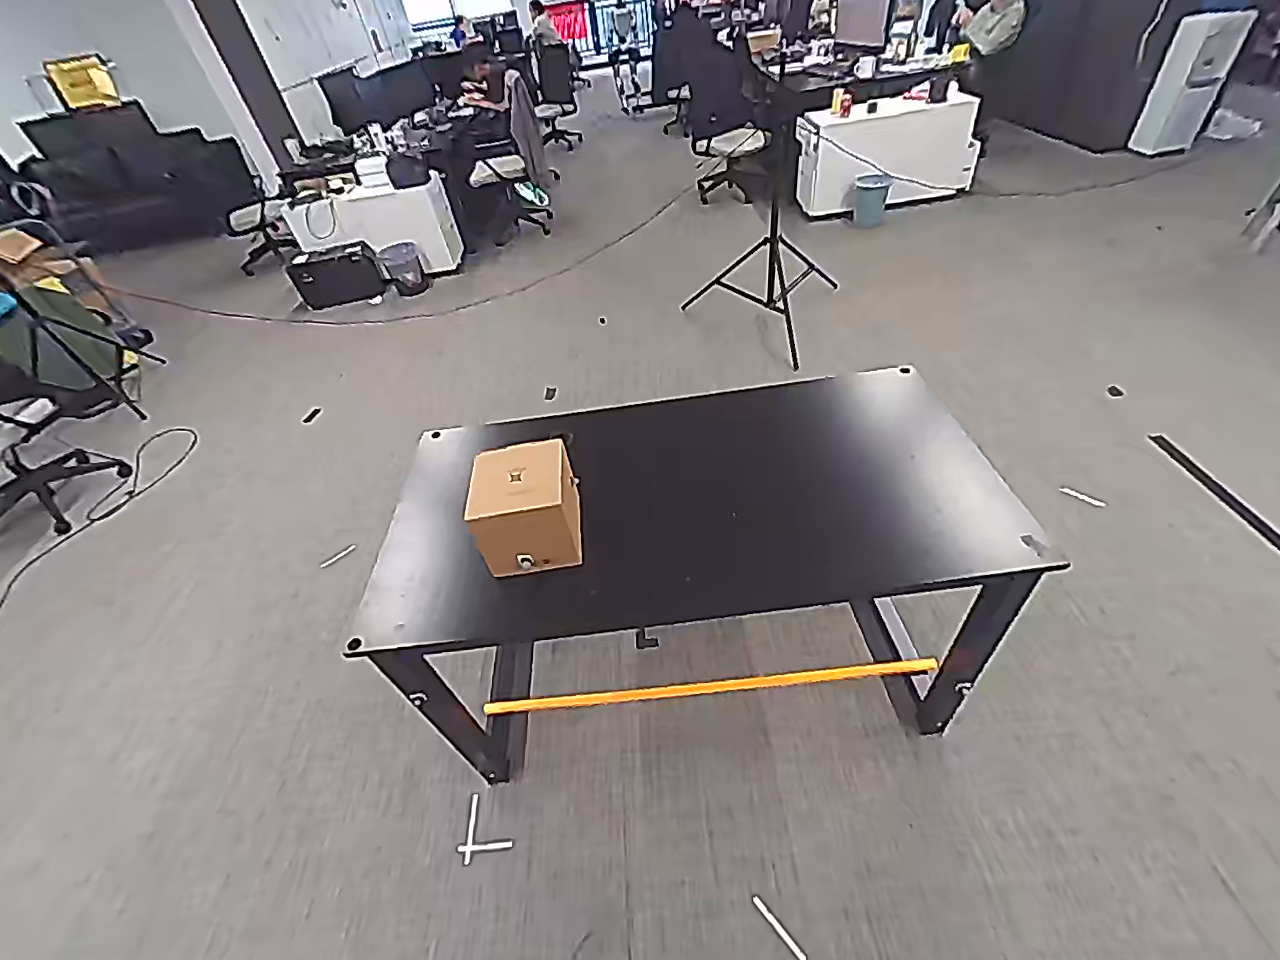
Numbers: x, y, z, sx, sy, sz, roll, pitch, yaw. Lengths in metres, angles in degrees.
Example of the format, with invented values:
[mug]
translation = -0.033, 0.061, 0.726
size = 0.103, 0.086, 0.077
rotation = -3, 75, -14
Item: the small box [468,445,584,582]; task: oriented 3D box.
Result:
[small box]
translation = -0.203, 0.063, 1.010
size = 0.168, 0.176, 0.179
rotation = -11, 44, 1
